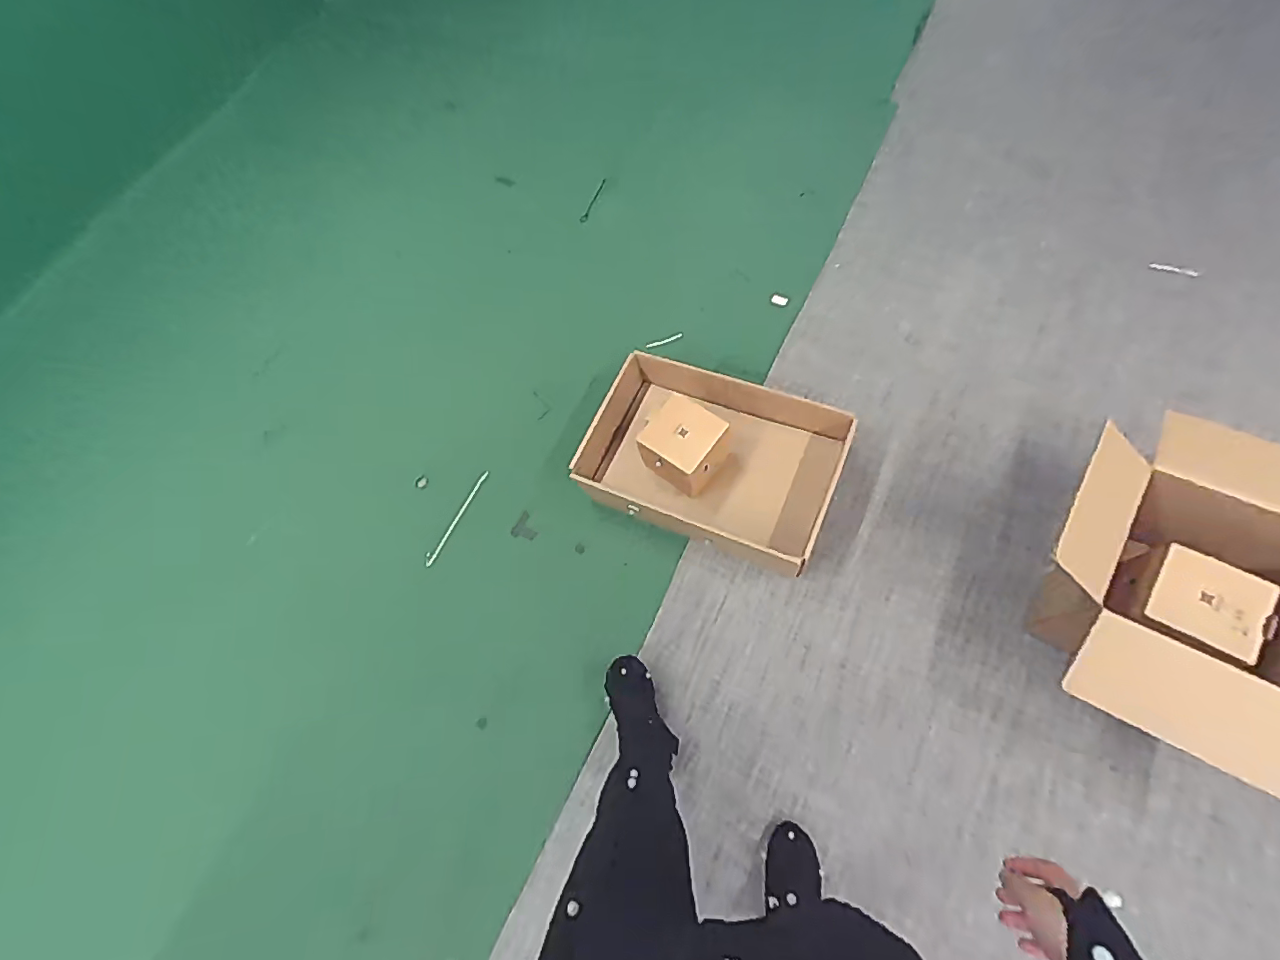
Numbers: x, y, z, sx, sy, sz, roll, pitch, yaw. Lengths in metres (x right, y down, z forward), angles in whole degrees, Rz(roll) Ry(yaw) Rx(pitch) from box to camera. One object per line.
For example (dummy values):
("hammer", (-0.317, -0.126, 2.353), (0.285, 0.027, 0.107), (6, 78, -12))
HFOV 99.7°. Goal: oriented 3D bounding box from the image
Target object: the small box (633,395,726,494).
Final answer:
("small box", (0.110, -0.083, 1.408), (0.179, 0.176, 0.168), (34, 76, 21))
